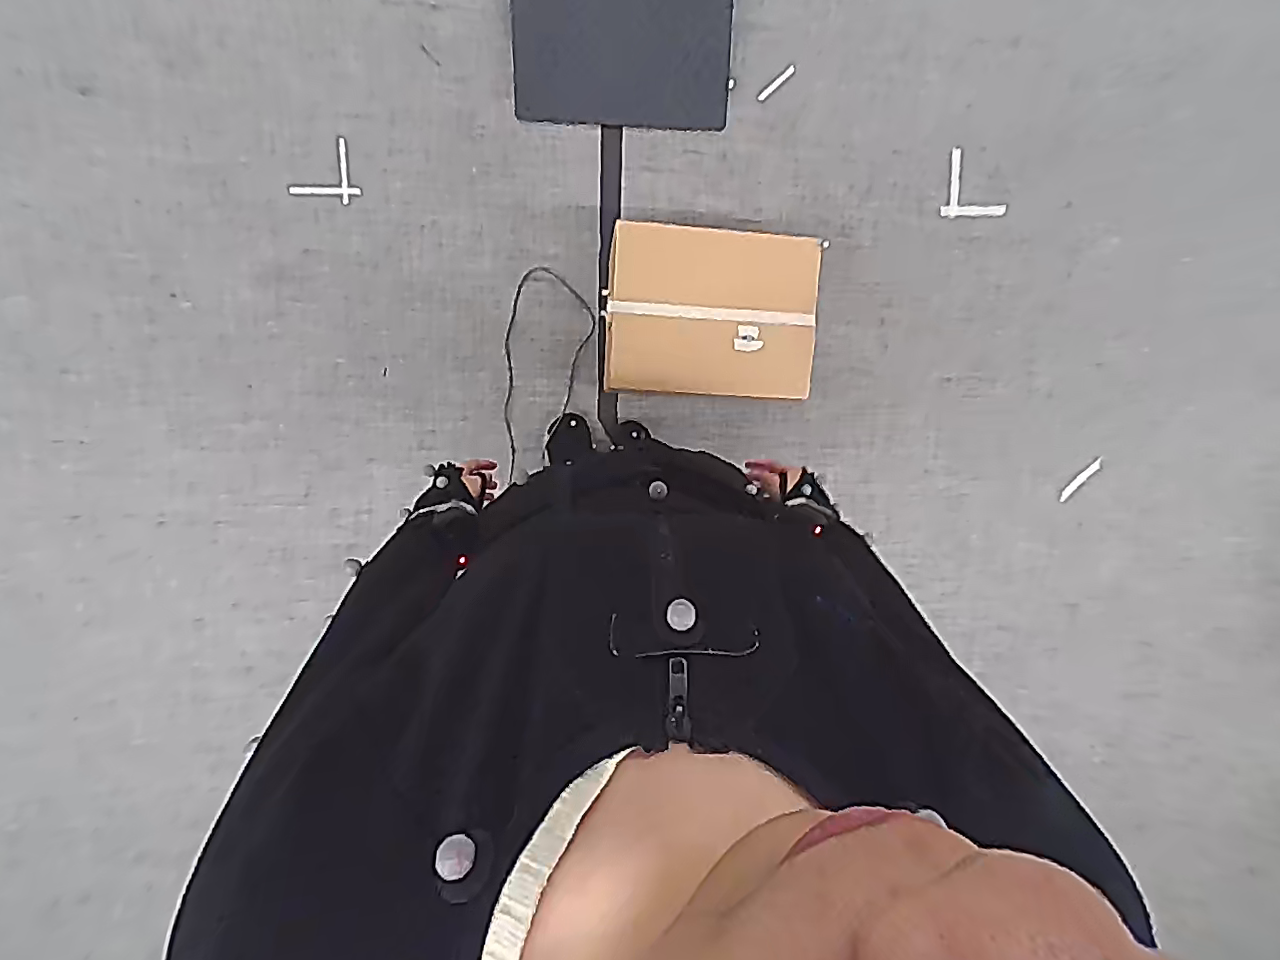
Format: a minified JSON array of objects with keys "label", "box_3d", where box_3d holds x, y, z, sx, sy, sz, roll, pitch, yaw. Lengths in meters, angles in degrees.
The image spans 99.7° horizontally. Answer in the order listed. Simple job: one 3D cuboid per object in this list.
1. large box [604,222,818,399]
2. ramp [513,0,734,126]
[{"label":"large box","box_3d":[0.128,-0.345,1.197,0.408,0.320,0.320,2,98,-7]},{"label":"ramp","box_3d":[-0.023,-1.309,1.102,0.509,0.206,0.991,-2,99,-6]}]
